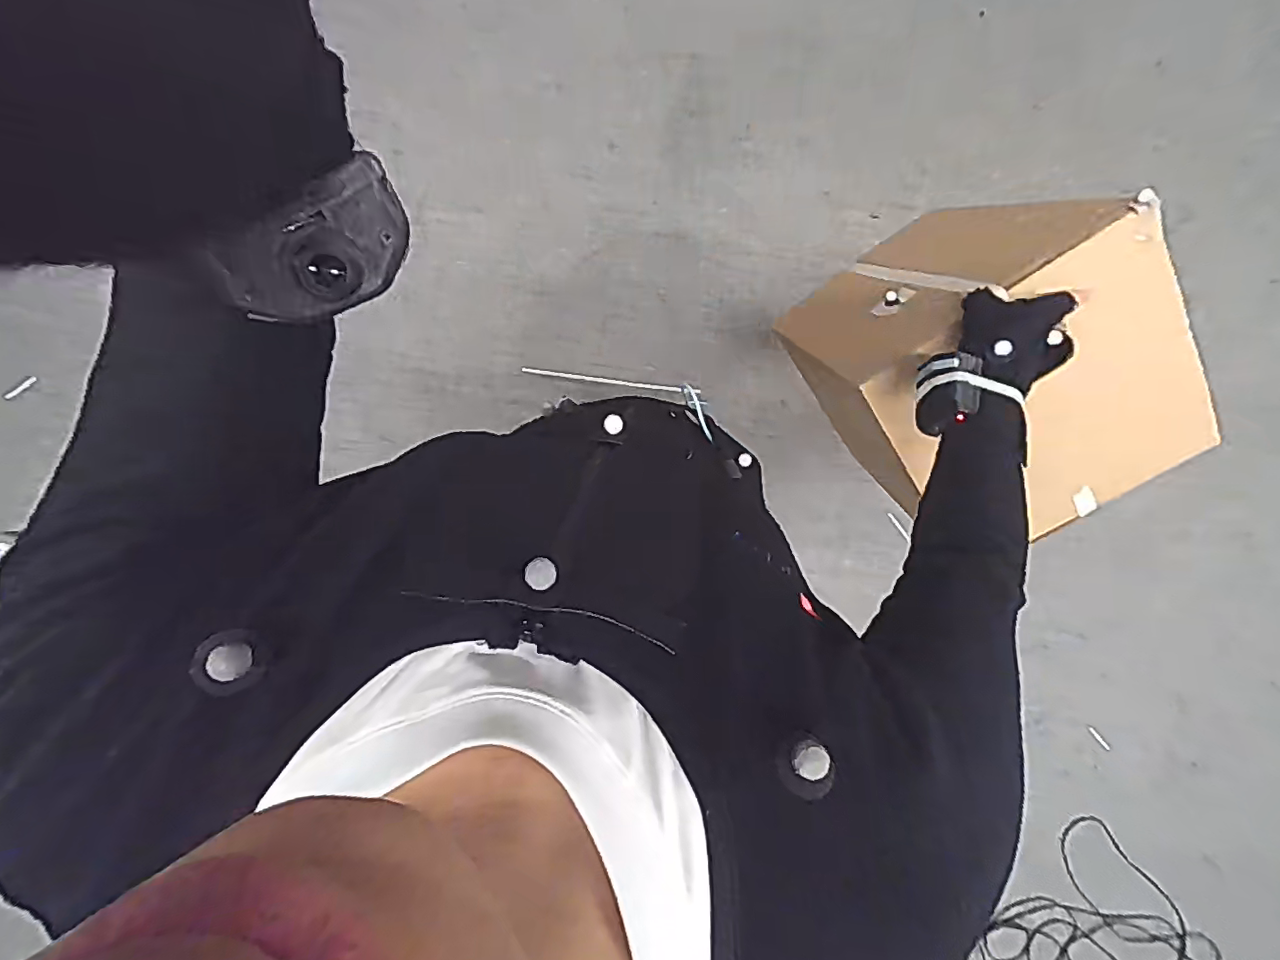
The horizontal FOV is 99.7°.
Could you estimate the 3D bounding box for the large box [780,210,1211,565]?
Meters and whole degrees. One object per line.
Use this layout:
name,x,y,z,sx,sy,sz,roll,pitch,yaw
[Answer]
large box,0.459,-0.156,0.787,0.320,0.408,0.320,-34,113,13
